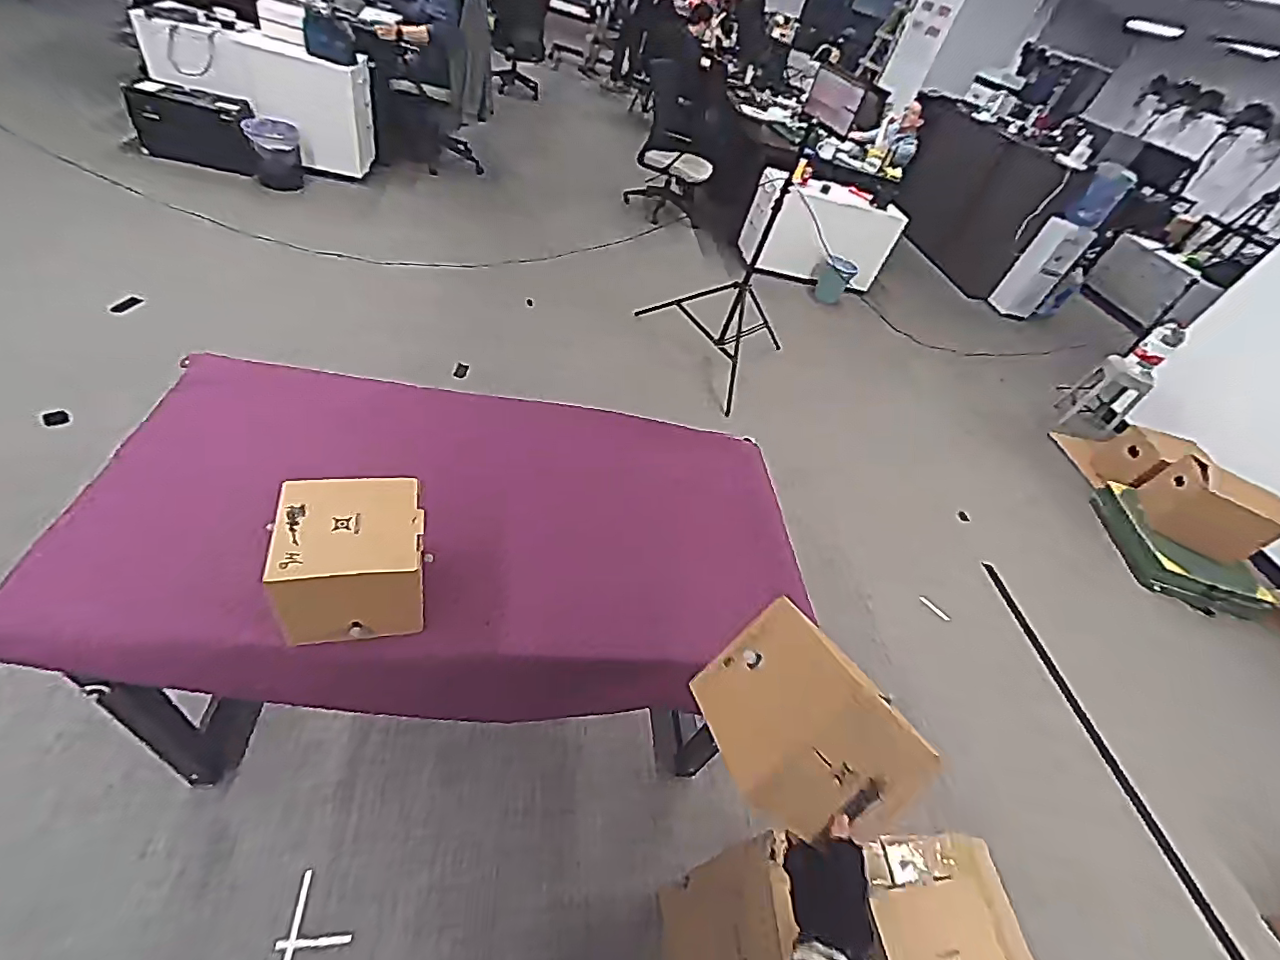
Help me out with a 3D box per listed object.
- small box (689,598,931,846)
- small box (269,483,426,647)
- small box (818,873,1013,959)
[{"bbox_3d":[0.188,0.273,0.639,0.179,0.168,0.176,44,2,-22],"label":"small box"},{"bbox_3d":[-0.405,0.122,0.782,0.179,0.176,0.168,0,46,-22],"label":"small box"},{"bbox_3d":[0.358,0.636,0.695,0.168,0.176,0.179,2,47,-15],"label":"small box"}]
